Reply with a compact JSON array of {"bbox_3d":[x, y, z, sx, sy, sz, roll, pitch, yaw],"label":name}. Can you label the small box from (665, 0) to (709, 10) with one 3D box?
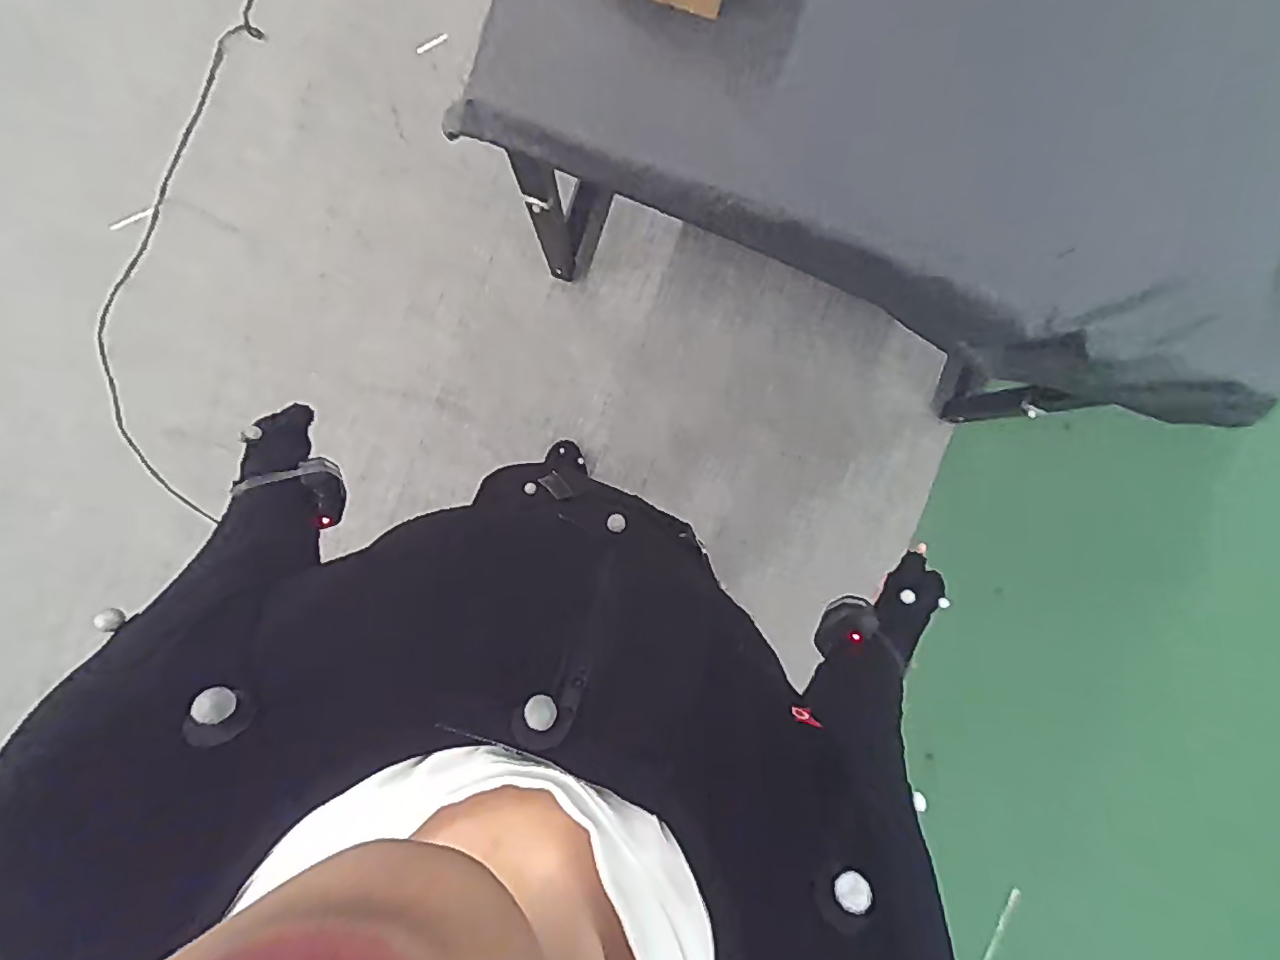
[{"bbox_3d":[0.043,-0.718,0.638,0.179,0.176,0.168,16,91,-4],"label":"small box"}]
